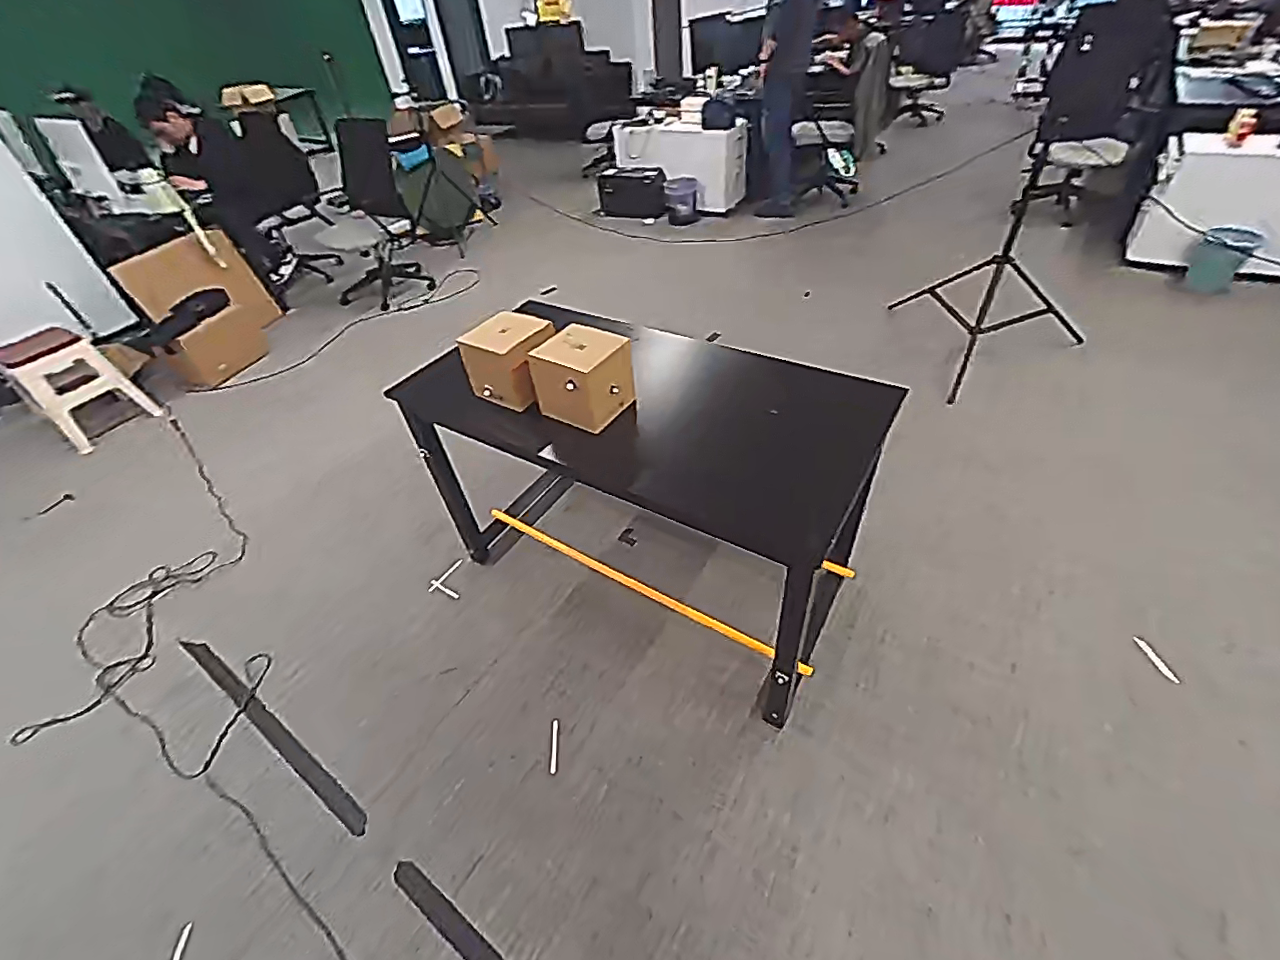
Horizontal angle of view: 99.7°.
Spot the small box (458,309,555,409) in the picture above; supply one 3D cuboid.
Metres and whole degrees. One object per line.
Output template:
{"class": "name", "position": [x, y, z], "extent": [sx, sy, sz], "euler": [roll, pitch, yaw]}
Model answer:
{"class": "small box", "position": [-0.321, -0.306, 1.366], "extent": [0.168, 0.176, 0.179], "euler": [20, 50, 27]}

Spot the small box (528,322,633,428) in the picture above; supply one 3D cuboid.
{"class": "small box", "position": [-0.130, -0.245, 1.275], "extent": [0.179, 0.176, 0.168], "euler": [22, 50, 27]}
